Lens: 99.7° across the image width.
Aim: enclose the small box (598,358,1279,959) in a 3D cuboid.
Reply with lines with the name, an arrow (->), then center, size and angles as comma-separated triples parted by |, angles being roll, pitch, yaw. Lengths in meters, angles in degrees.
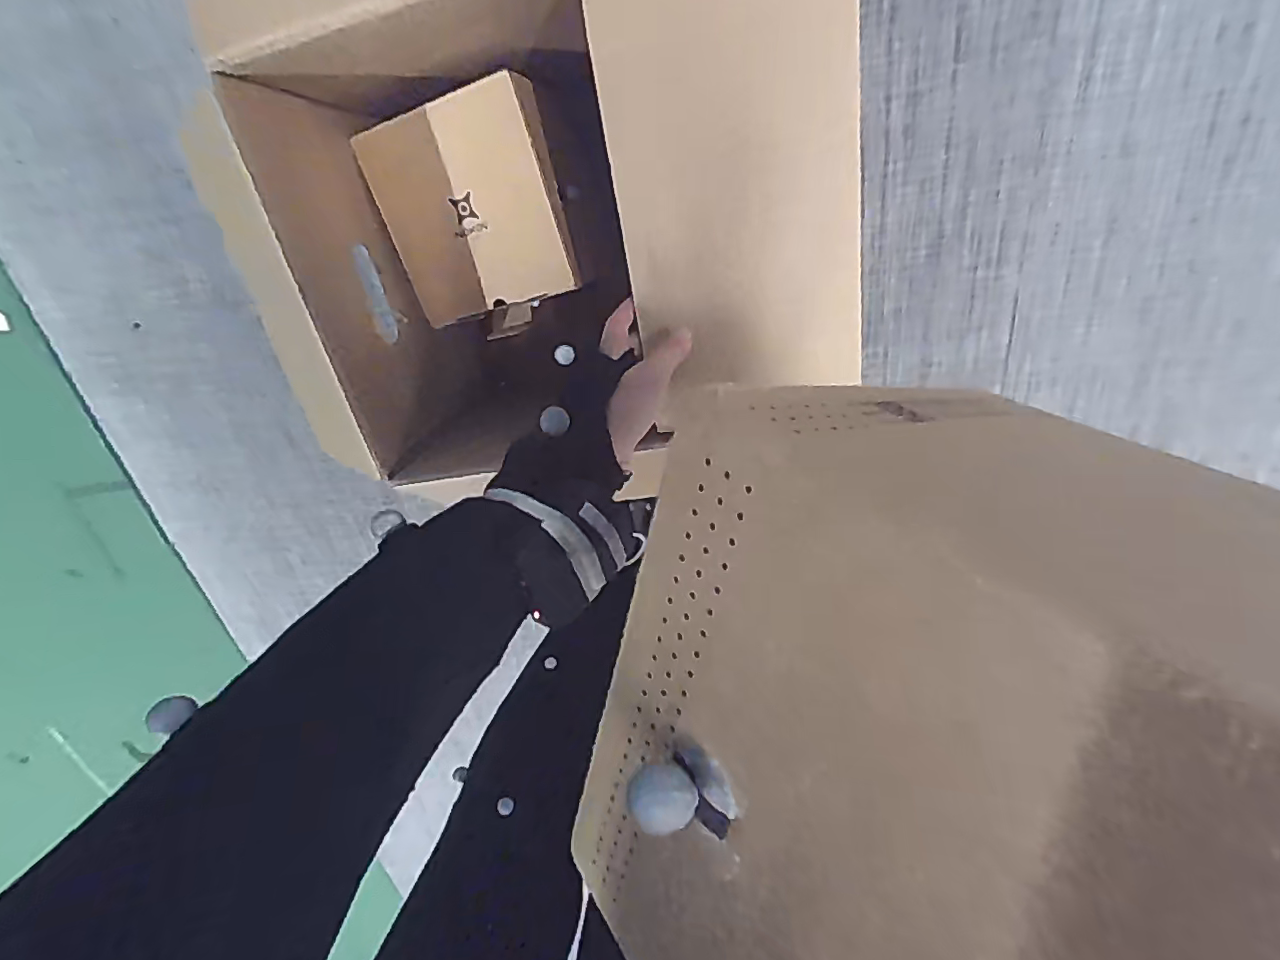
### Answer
small box -> 0.105, 0.081, 0.153 | 0.168, 0.176, 0.179 | -6, 122, -36
